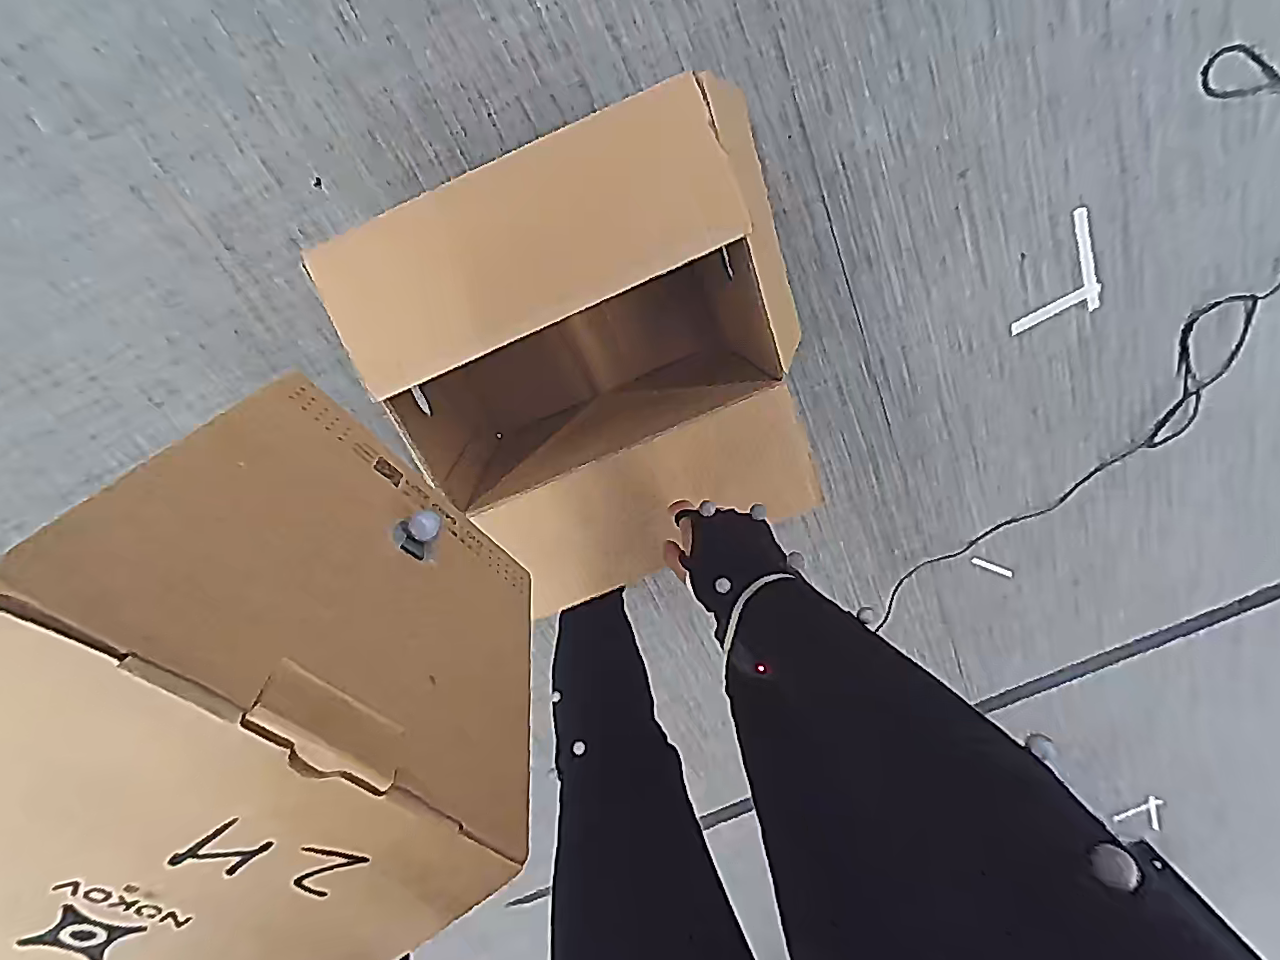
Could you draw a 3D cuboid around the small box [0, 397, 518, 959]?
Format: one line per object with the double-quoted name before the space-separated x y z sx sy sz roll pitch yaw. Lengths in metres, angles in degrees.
"small box" -0.167 0.094 0.235 0.179 0.176 0.168 -38 117 7
